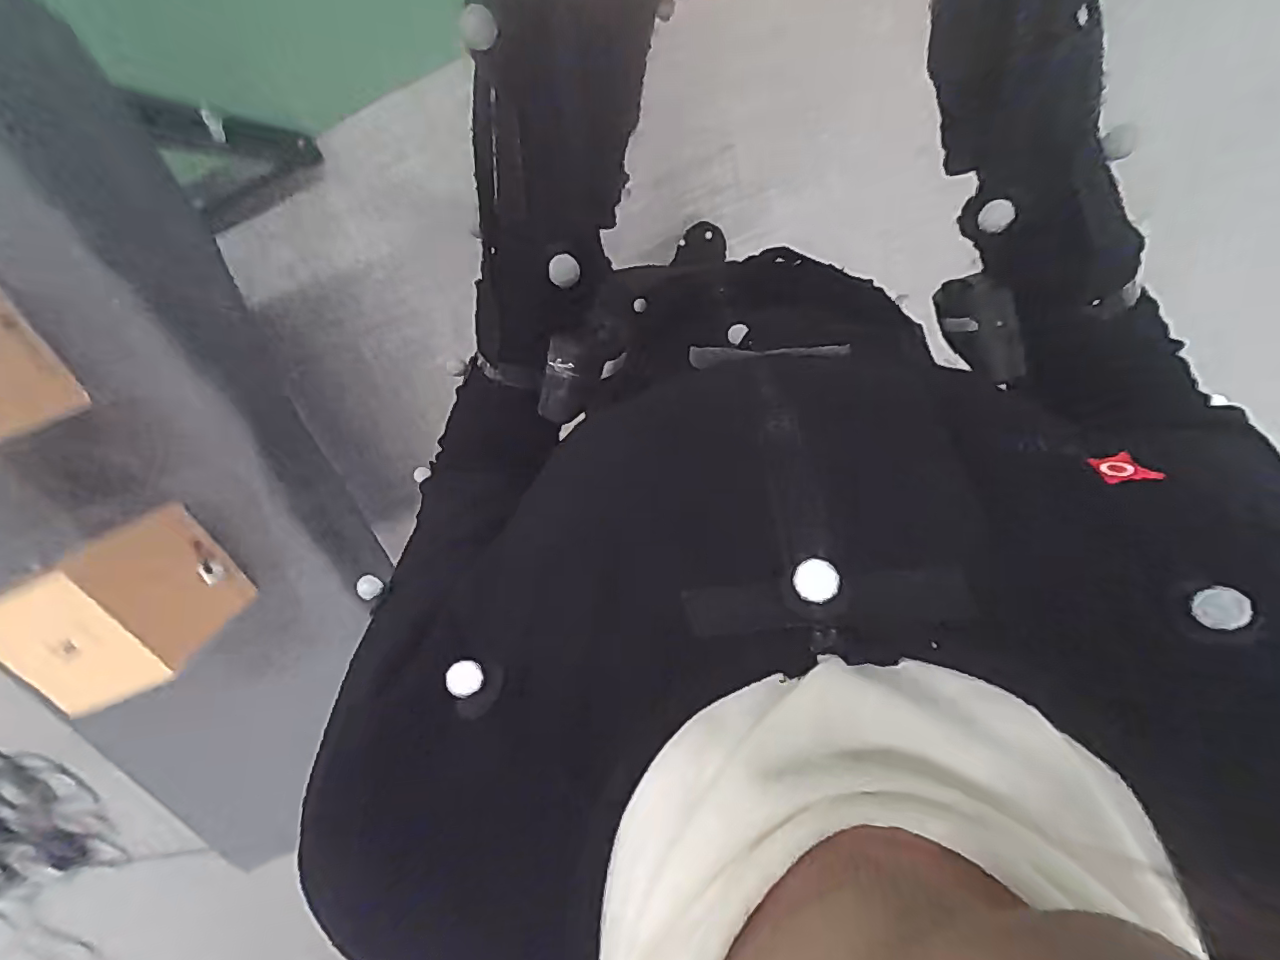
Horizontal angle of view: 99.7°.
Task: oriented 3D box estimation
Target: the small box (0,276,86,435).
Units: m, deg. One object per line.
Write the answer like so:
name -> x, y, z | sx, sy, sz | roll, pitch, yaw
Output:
small box -> -0.781, -0.113, 0.577 | 0.179, 0.176, 0.168 | -17, 115, 10

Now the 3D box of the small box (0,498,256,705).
small box -> -0.663, 0.151, 0.704 | 0.179, 0.176, 0.168 | -23, 114, 11
